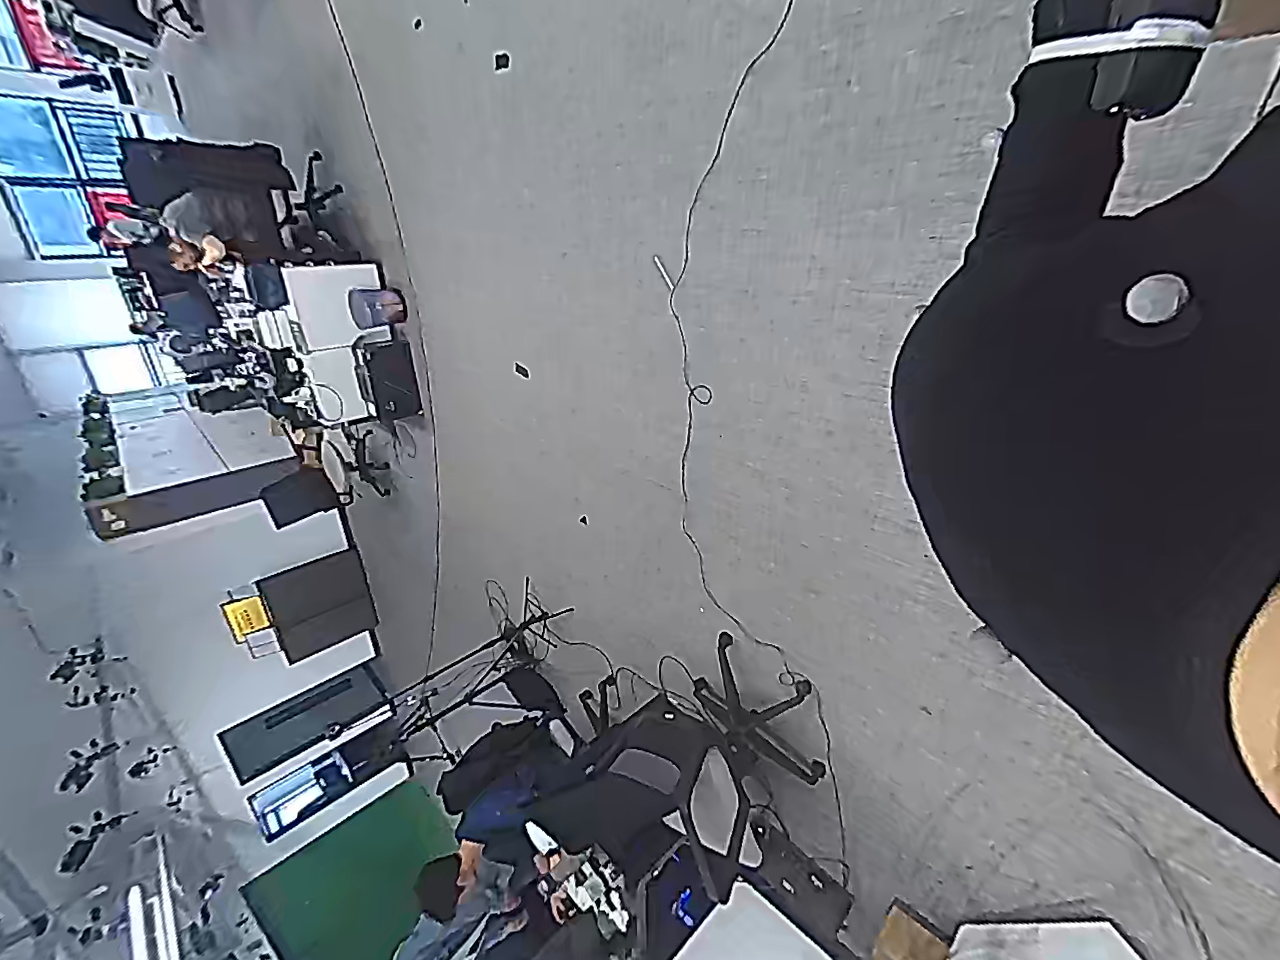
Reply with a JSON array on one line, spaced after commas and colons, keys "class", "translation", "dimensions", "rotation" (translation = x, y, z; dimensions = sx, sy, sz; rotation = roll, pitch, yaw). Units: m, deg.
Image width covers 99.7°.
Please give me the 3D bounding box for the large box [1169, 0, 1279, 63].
[{"class": "large box", "translation": [0.548, -0.429, 0.229], "dimensions": [0.408, 0.320, 0.320], "rotation": [21, 125, 39]}]
